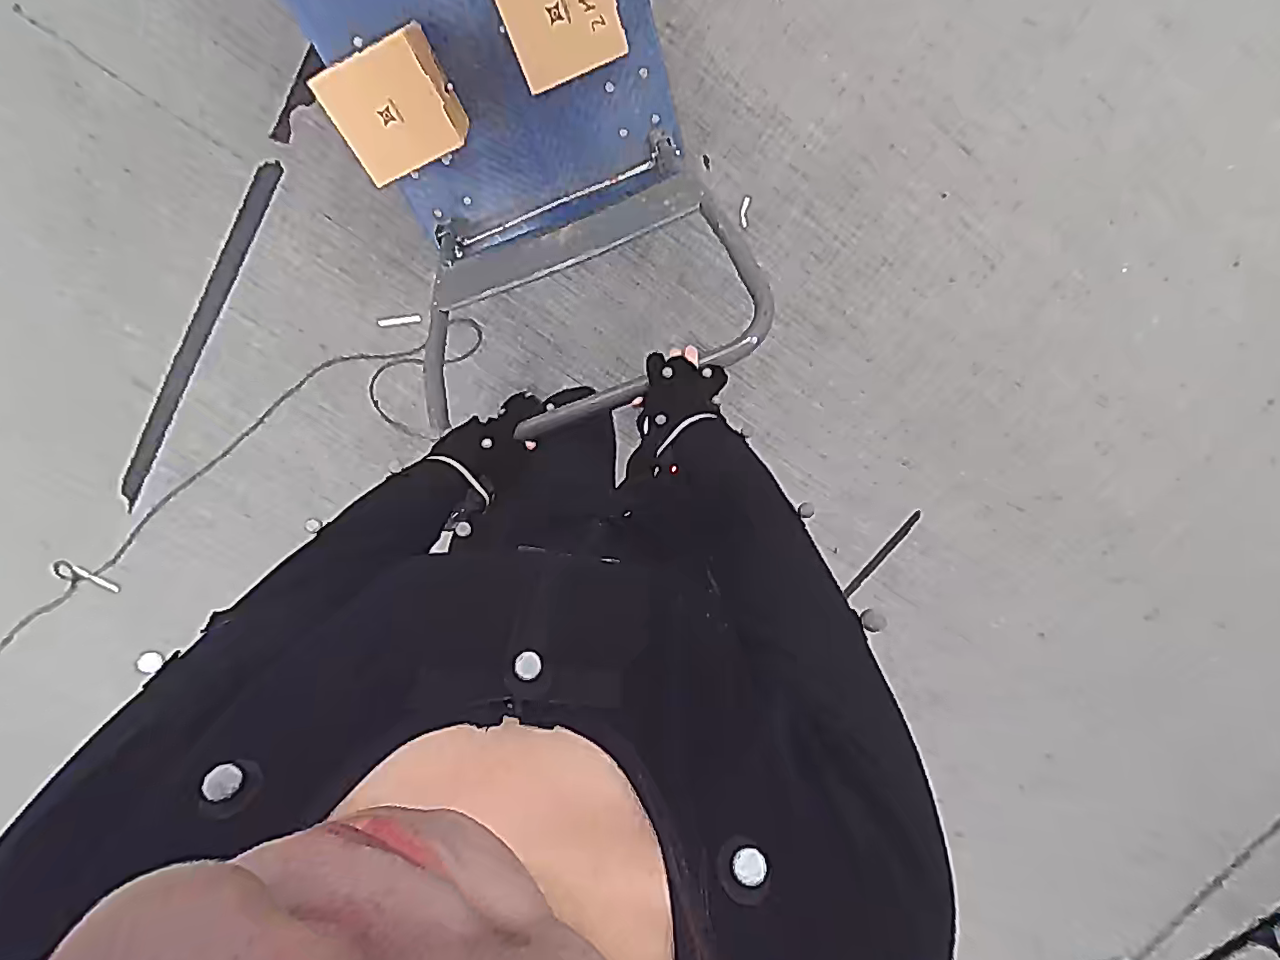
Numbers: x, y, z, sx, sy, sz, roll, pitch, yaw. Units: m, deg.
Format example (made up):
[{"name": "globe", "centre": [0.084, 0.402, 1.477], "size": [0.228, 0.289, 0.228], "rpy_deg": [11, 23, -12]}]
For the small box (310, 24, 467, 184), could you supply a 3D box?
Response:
[{"name": "small box", "centre": [-0.419, -0.653, 0.938], "size": [0.179, 0.176, 0.168], "rpy_deg": [-23, 133, 8]}]

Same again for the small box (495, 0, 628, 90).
[{"name": "small box", "centre": [-0.133, -0.775, 0.882], "size": [0.179, 0.176, 0.168], "rpy_deg": [-20, 135, 7]}]
